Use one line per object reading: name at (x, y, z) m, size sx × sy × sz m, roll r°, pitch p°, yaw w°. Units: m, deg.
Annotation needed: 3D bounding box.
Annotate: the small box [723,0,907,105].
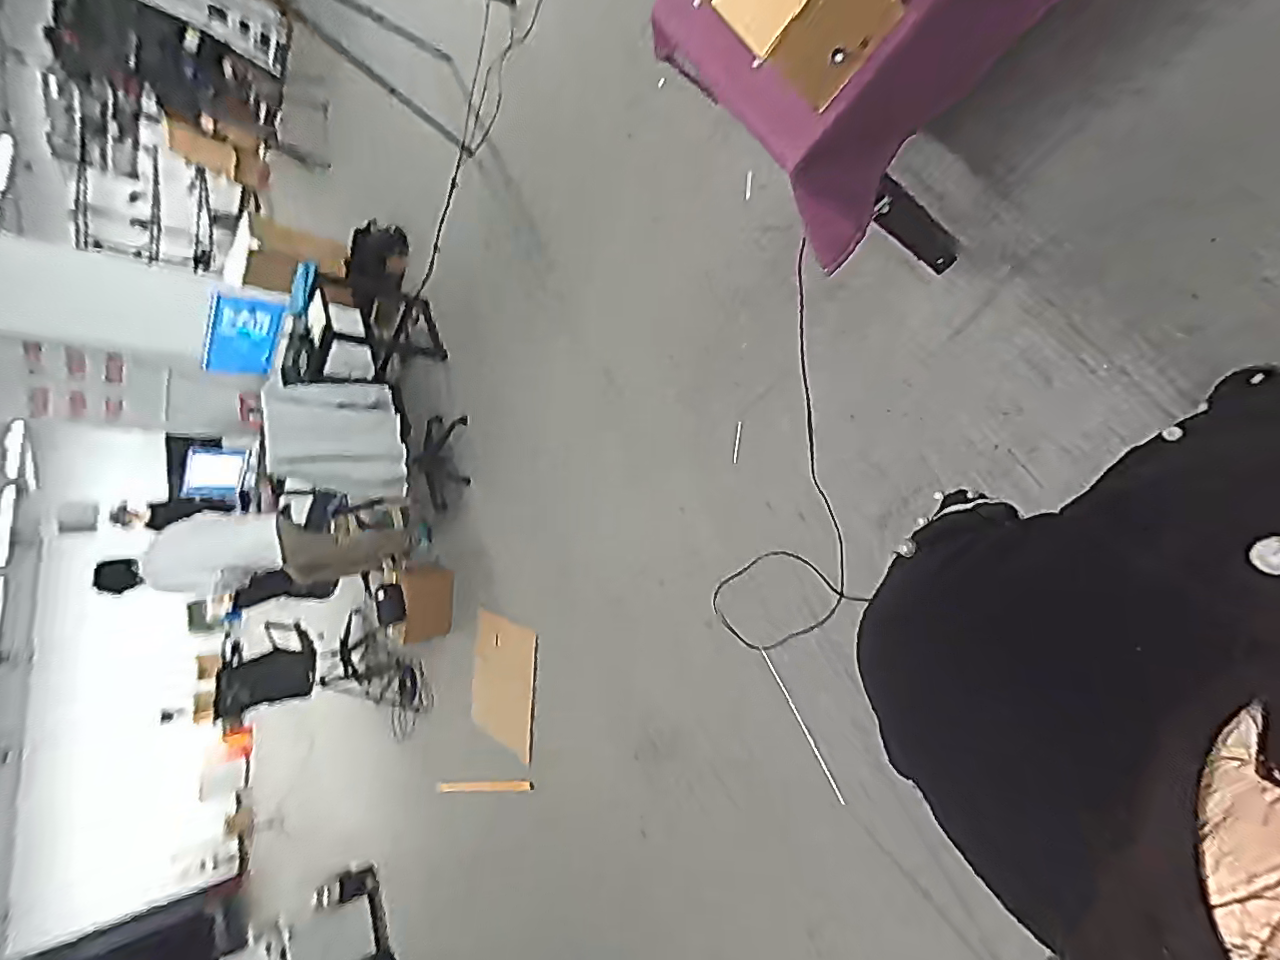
small box at (0.264, -0.723, 0.822) m, size 0.168 × 0.176 × 0.179 m, roll -43°, pitch 60°, yaw 36°
